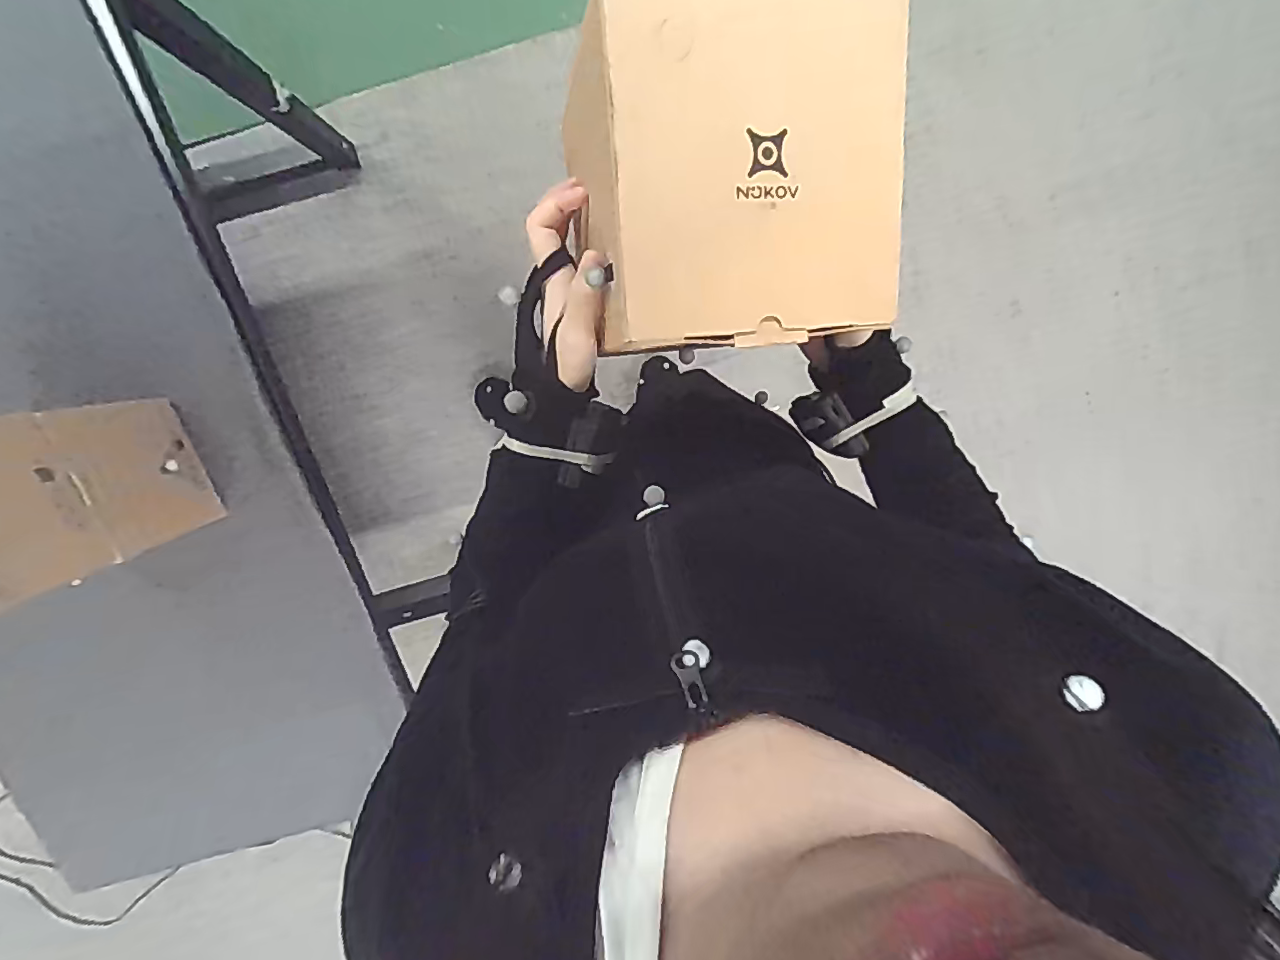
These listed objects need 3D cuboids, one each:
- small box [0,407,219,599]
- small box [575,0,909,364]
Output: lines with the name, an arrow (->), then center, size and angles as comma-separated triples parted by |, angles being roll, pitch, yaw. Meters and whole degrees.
small box -> -0.655, 0.021, 0.626 | 0.179, 0.176, 0.168 | -17, 104, 0
small box -> 0.052, -0.175, 0.369 | 0.168, 0.176, 0.179 | -7, 103, -13
